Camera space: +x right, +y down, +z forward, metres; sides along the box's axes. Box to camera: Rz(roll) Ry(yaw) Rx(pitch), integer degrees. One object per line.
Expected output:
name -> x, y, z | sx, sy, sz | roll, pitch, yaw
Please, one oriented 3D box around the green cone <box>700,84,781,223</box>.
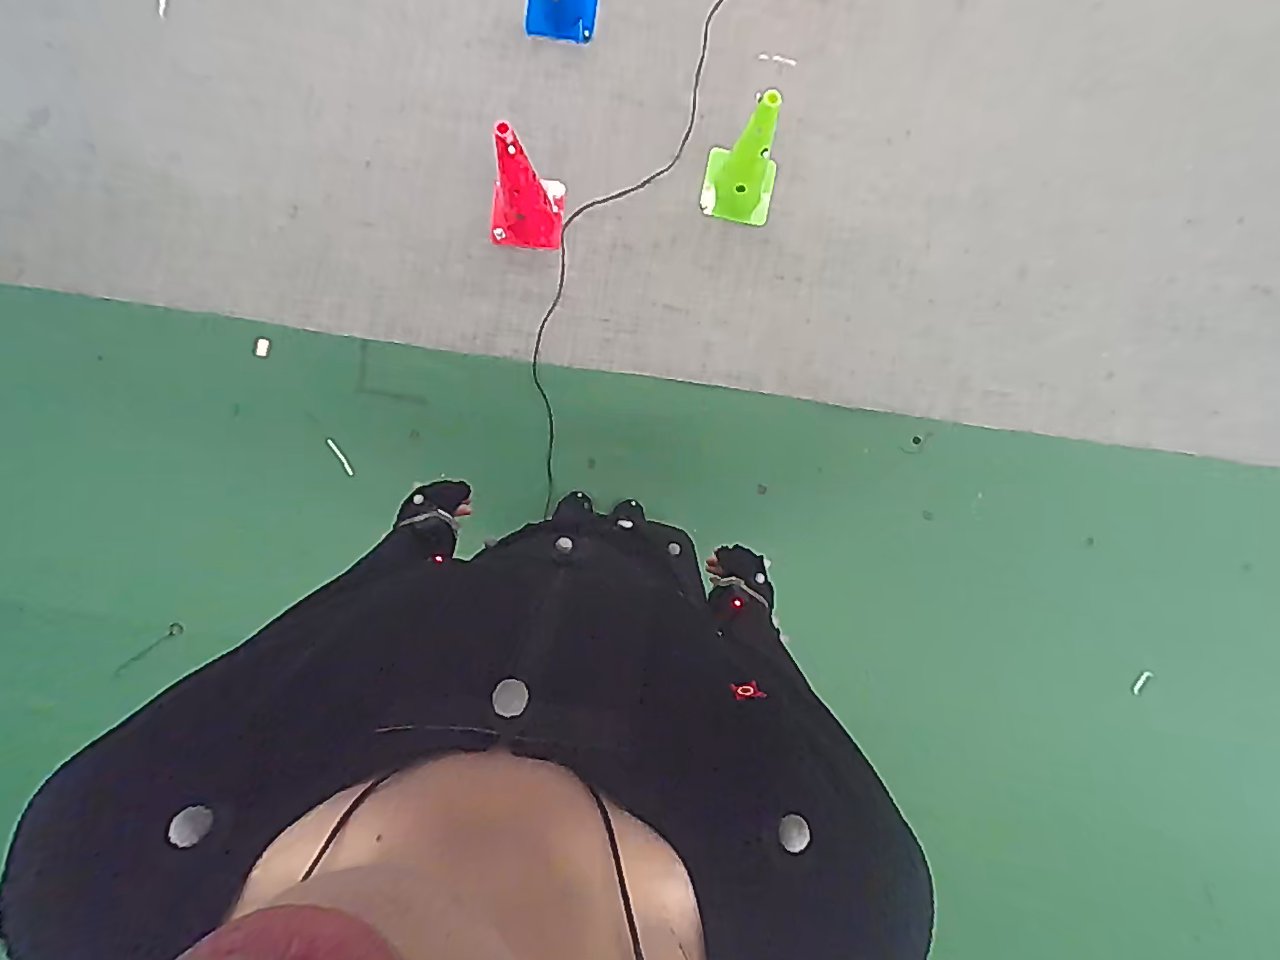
green cone -> 0.293, -0.862, 1.395 | 0.200, 0.368, 0.202 | 10, 87, -2
